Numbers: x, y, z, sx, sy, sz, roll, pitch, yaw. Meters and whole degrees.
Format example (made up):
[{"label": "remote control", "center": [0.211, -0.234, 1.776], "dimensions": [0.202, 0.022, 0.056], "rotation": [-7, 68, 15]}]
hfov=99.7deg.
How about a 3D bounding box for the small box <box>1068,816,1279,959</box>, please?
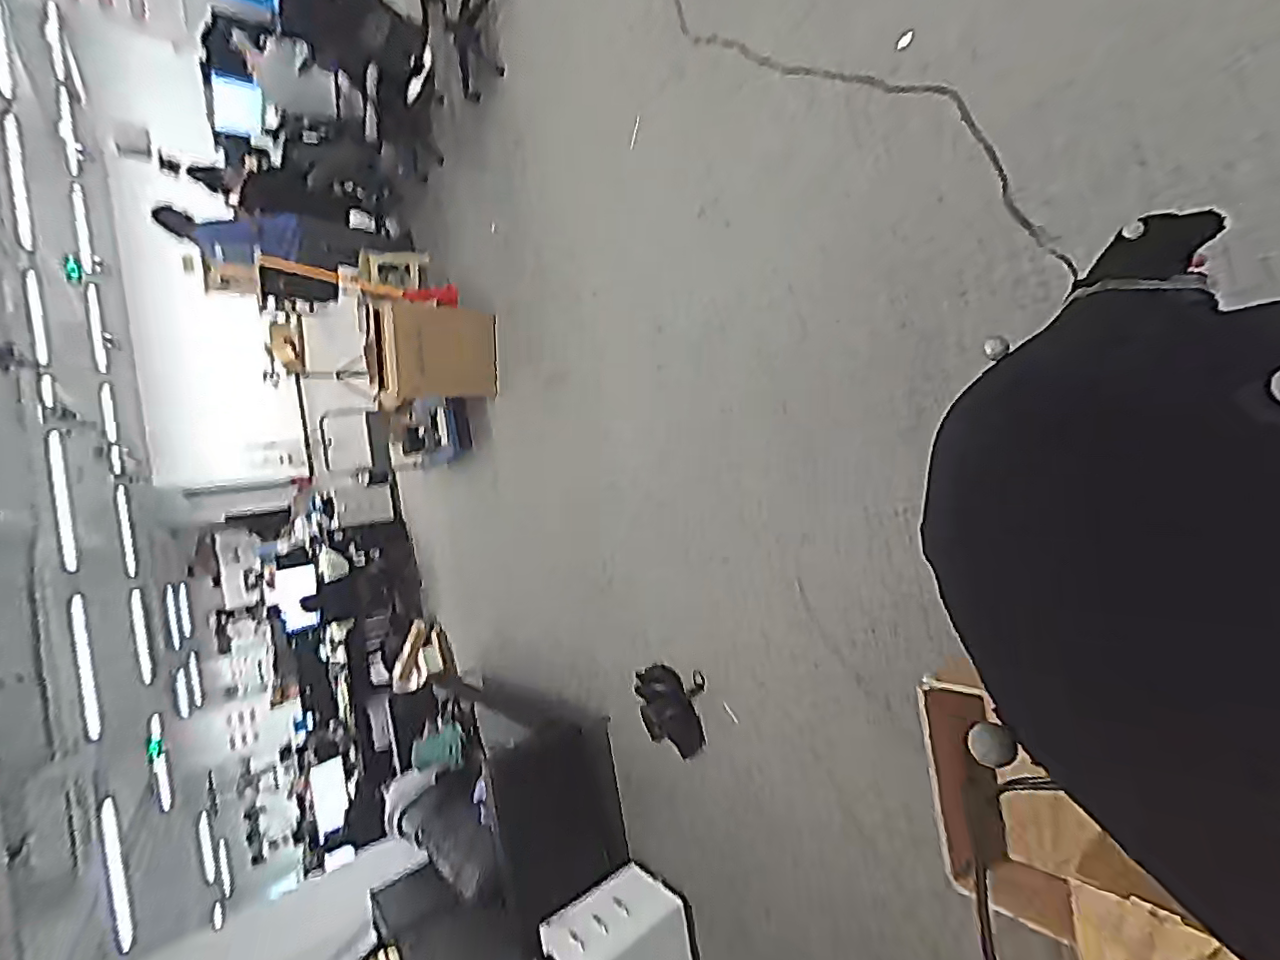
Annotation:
[{"label": "small box", "center": [0.661, 0.561, 0.665], "dimensions": [0.168, 0.176, 0.179], "rotation": [-5, 93, 56]}]
